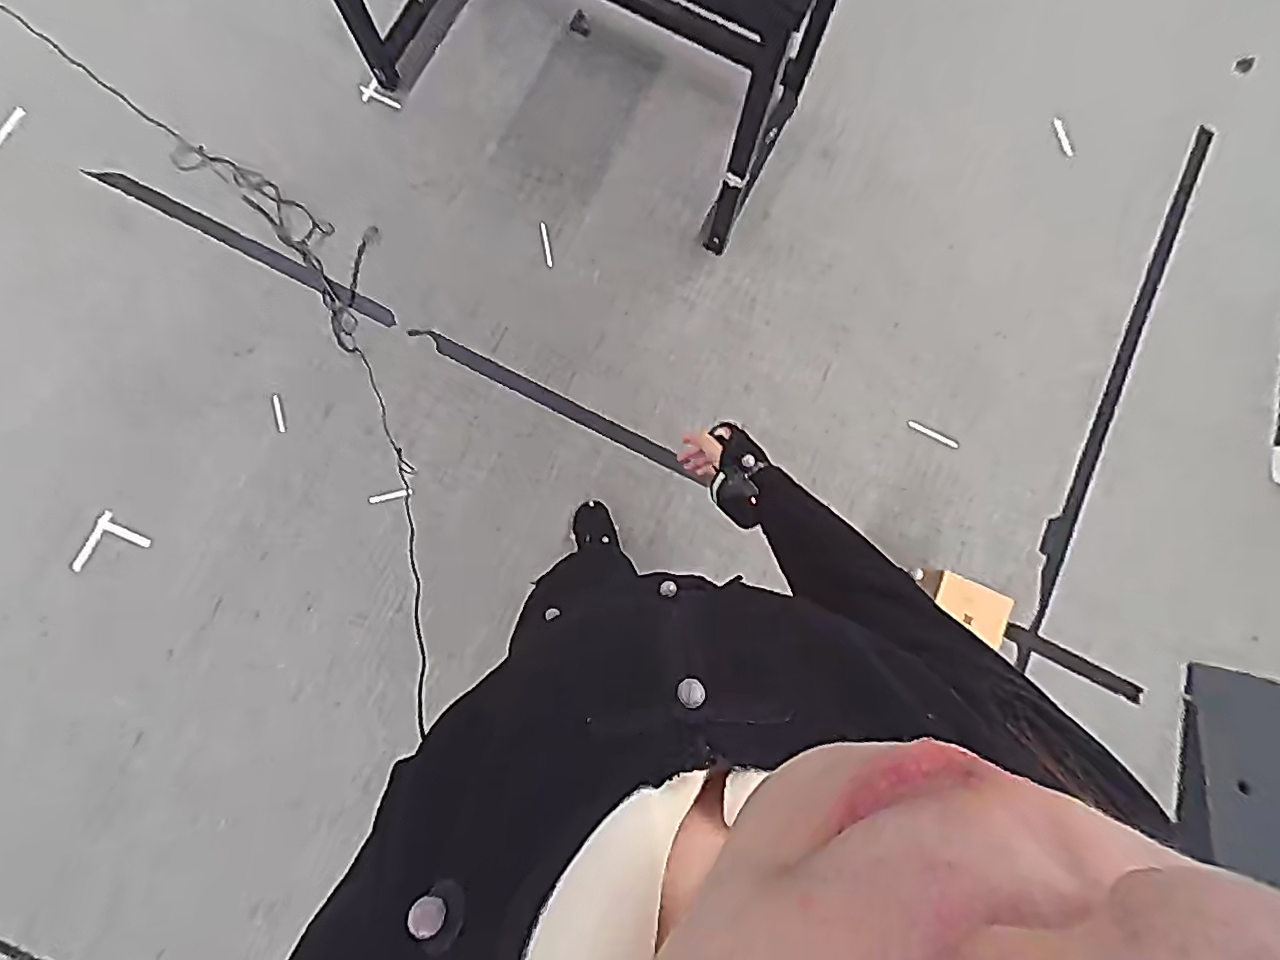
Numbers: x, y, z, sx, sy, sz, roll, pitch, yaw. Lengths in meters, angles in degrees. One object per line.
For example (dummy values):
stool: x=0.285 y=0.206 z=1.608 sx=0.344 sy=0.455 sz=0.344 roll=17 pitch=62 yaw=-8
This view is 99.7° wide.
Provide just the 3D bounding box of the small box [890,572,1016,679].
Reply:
small box: x=0.711 y=0.327 z=1.251 sx=0.168 sy=0.176 sz=0.179 roll=24 pitch=82 yaw=1
